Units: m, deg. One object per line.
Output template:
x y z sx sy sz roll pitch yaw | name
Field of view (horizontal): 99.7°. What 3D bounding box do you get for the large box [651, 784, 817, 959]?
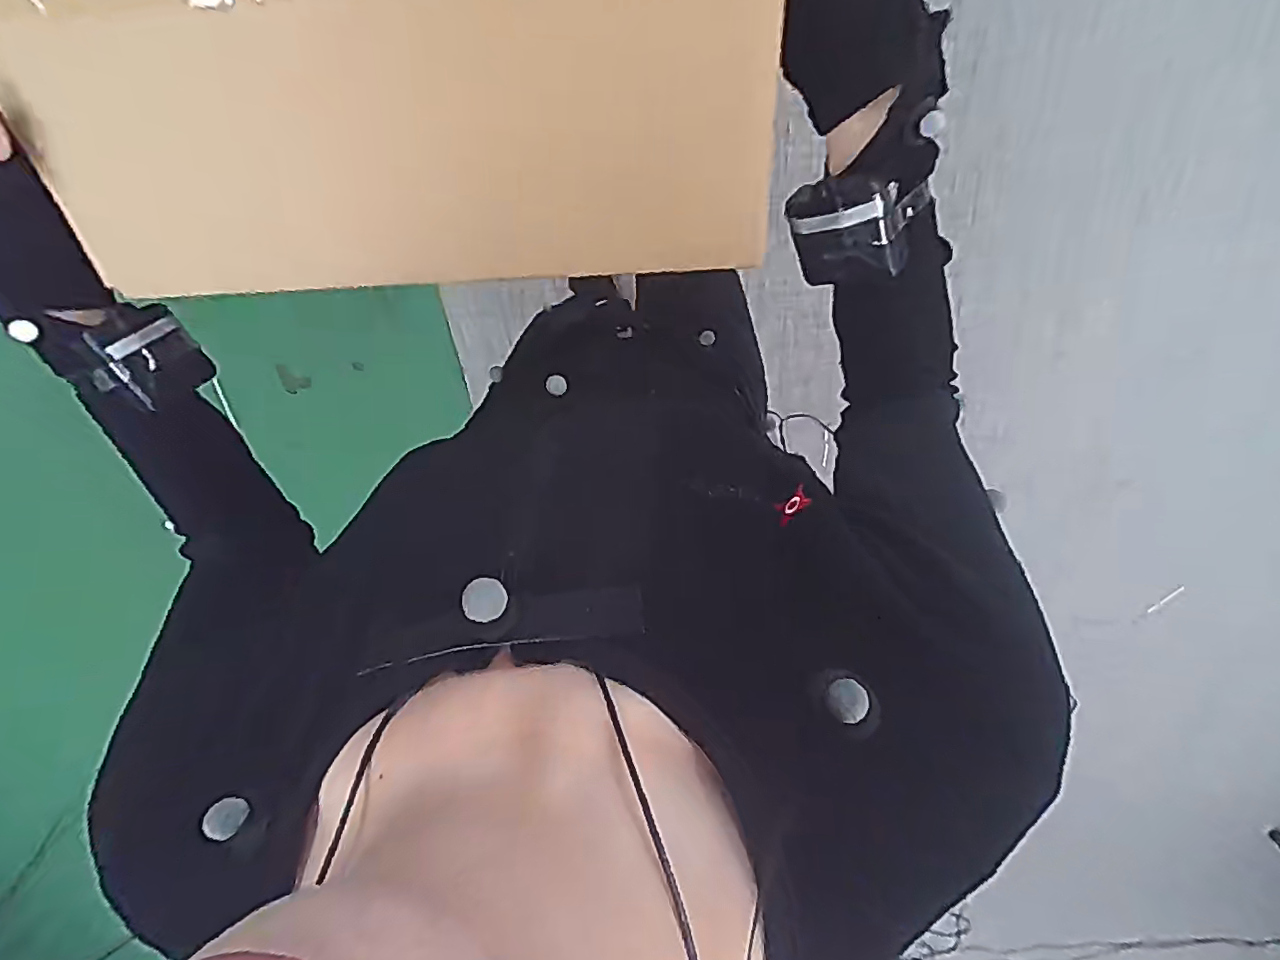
0.194 0.980 1.256 0.320 0.320 0.408 -2 117 0 | large box
